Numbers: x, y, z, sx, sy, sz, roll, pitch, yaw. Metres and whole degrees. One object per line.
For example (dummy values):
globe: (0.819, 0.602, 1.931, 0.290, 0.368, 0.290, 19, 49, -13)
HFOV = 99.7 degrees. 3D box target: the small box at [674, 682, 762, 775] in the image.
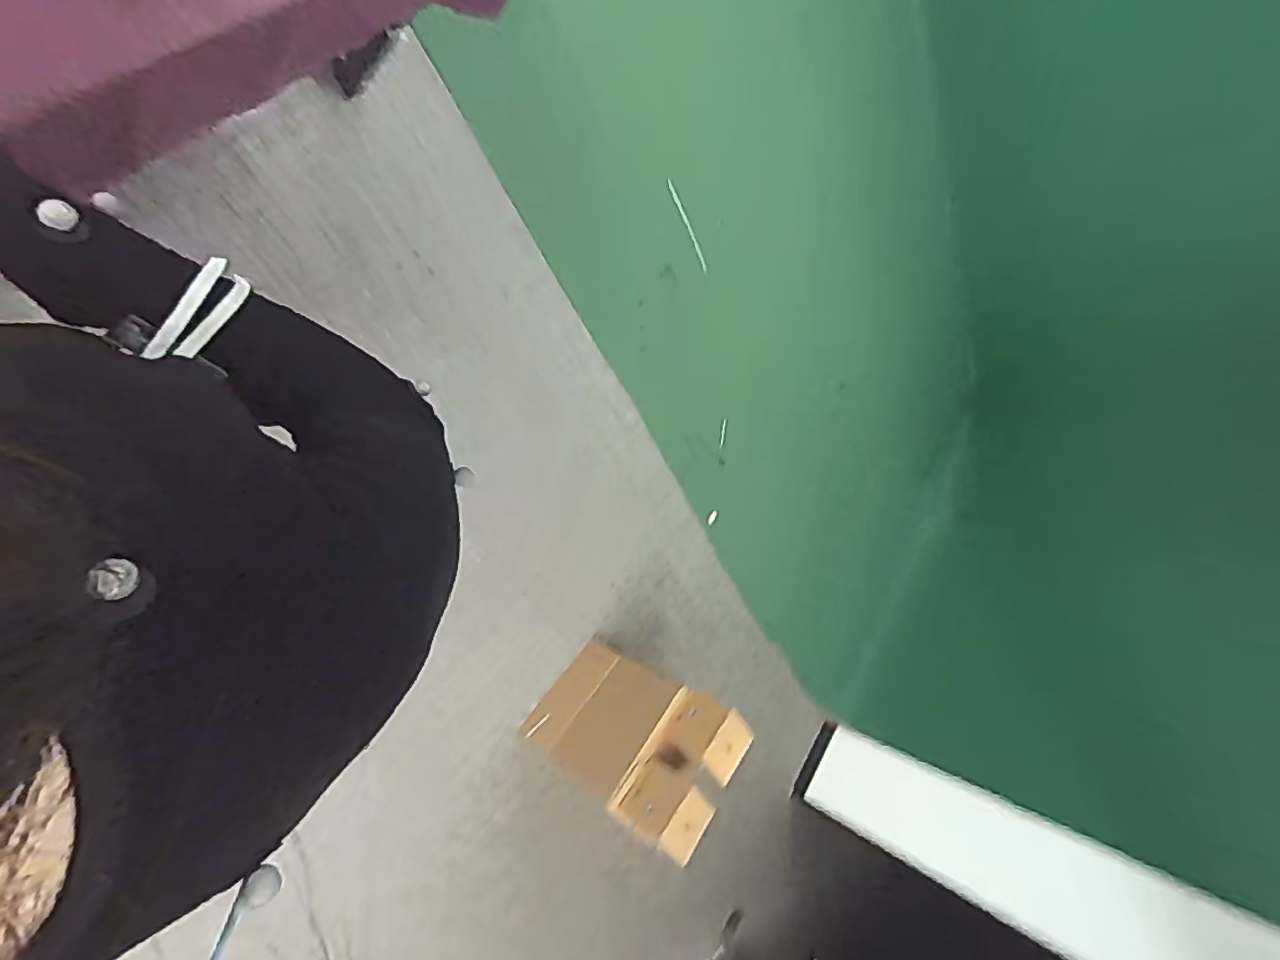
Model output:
small box: (0.238, 0.756, 1.661, 0.168, 0.176, 0.179, -49, 123, -24)

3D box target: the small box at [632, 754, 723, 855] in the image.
small box: (0.107, 0.929, 1.567, 0.168, 0.176, 0.179, -48, 125, -28)
